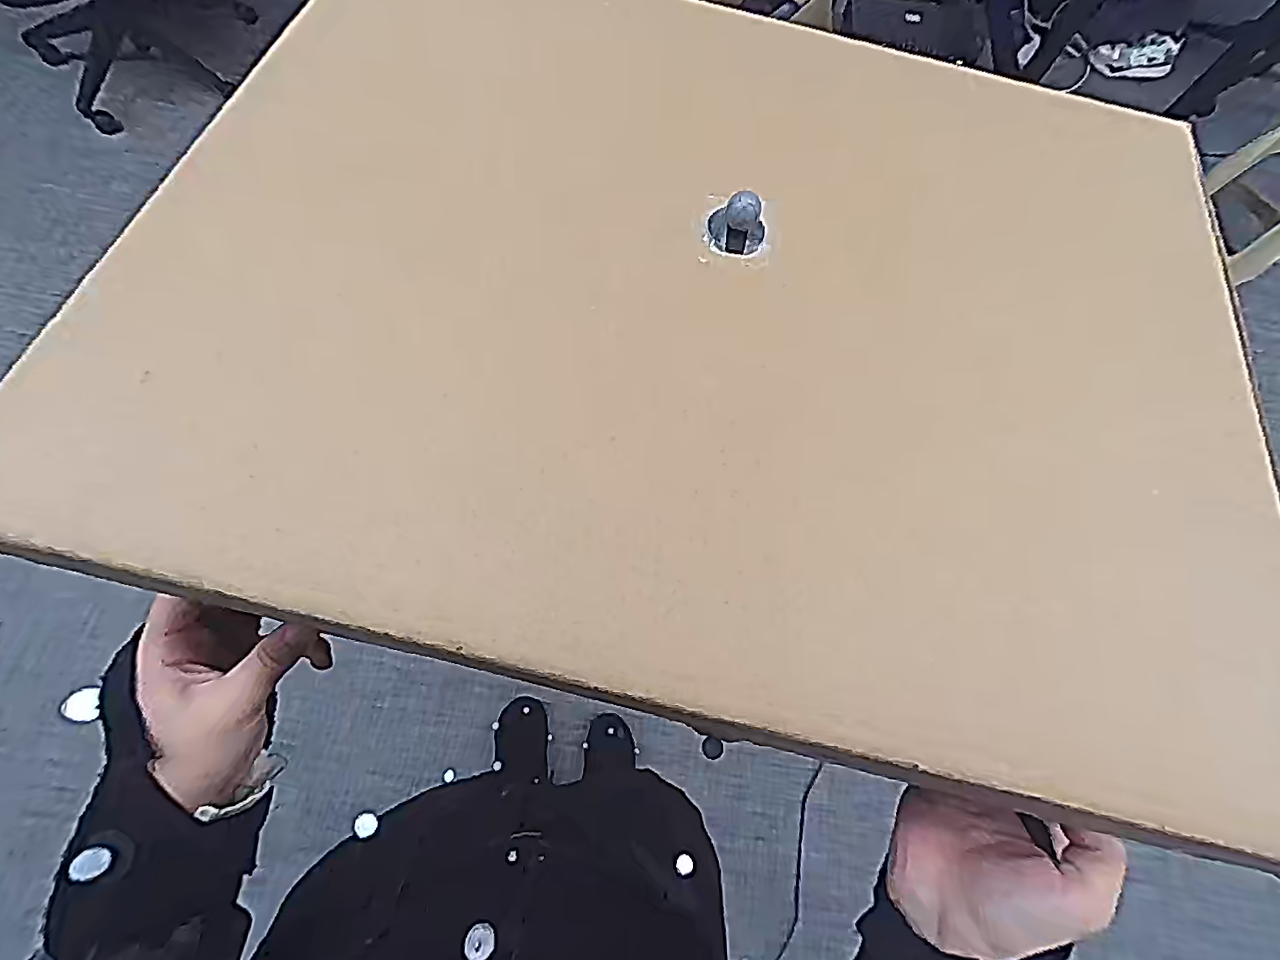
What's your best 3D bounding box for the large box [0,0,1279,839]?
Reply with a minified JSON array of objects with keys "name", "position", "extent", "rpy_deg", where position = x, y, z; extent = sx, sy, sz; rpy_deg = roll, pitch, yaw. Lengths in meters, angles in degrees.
[{"name":"large box","position":[0.007,-0.031,0.337],"extent":[0.408,0.320,0.320],"rpy_deg":[12,70,1]}]
